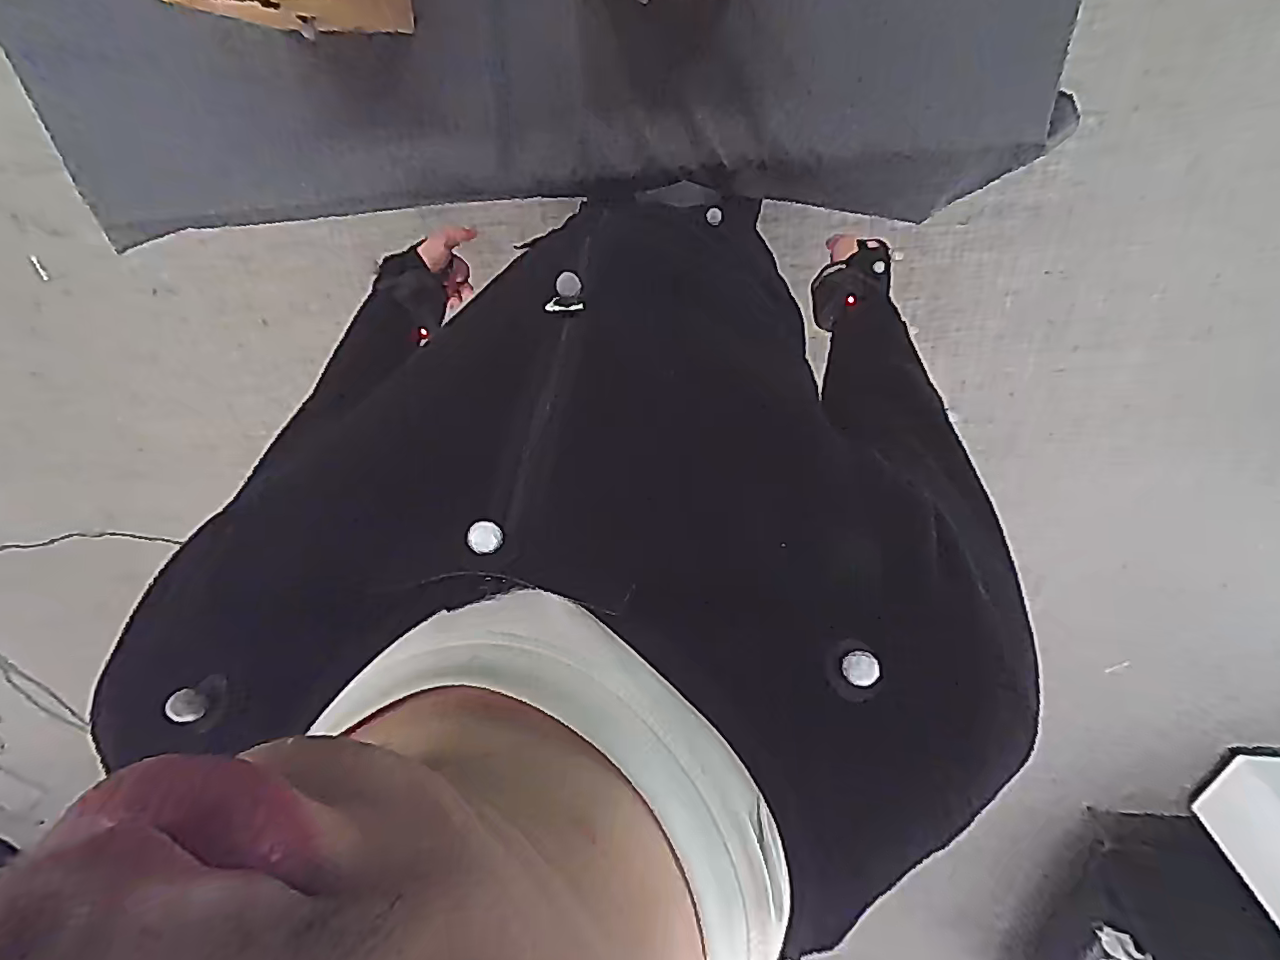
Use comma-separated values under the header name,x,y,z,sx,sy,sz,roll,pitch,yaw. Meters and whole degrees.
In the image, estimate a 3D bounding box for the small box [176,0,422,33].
name,x,y,z,sx,sy,sz,roll,pitch,yaw
small box,-0.328,-0.537,0.502,0.168,0.176,0.179,2,122,6
